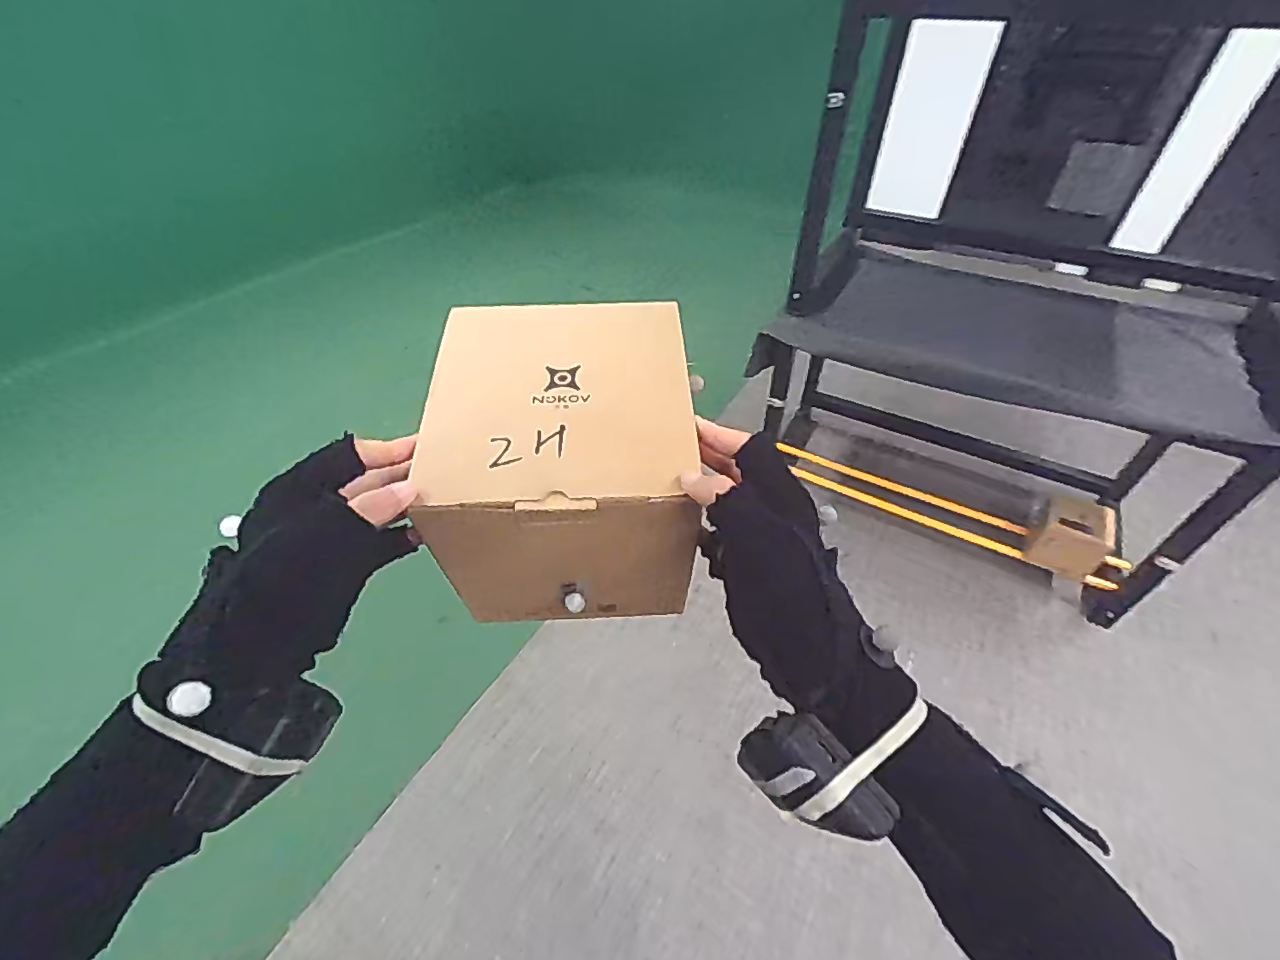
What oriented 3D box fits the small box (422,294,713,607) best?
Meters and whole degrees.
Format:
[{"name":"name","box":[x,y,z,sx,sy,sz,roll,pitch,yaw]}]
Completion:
[{"name":"small box","box":[-0.043,-0.020,0.413,0.168,0.176,0.179,-2,53,-1]}]
